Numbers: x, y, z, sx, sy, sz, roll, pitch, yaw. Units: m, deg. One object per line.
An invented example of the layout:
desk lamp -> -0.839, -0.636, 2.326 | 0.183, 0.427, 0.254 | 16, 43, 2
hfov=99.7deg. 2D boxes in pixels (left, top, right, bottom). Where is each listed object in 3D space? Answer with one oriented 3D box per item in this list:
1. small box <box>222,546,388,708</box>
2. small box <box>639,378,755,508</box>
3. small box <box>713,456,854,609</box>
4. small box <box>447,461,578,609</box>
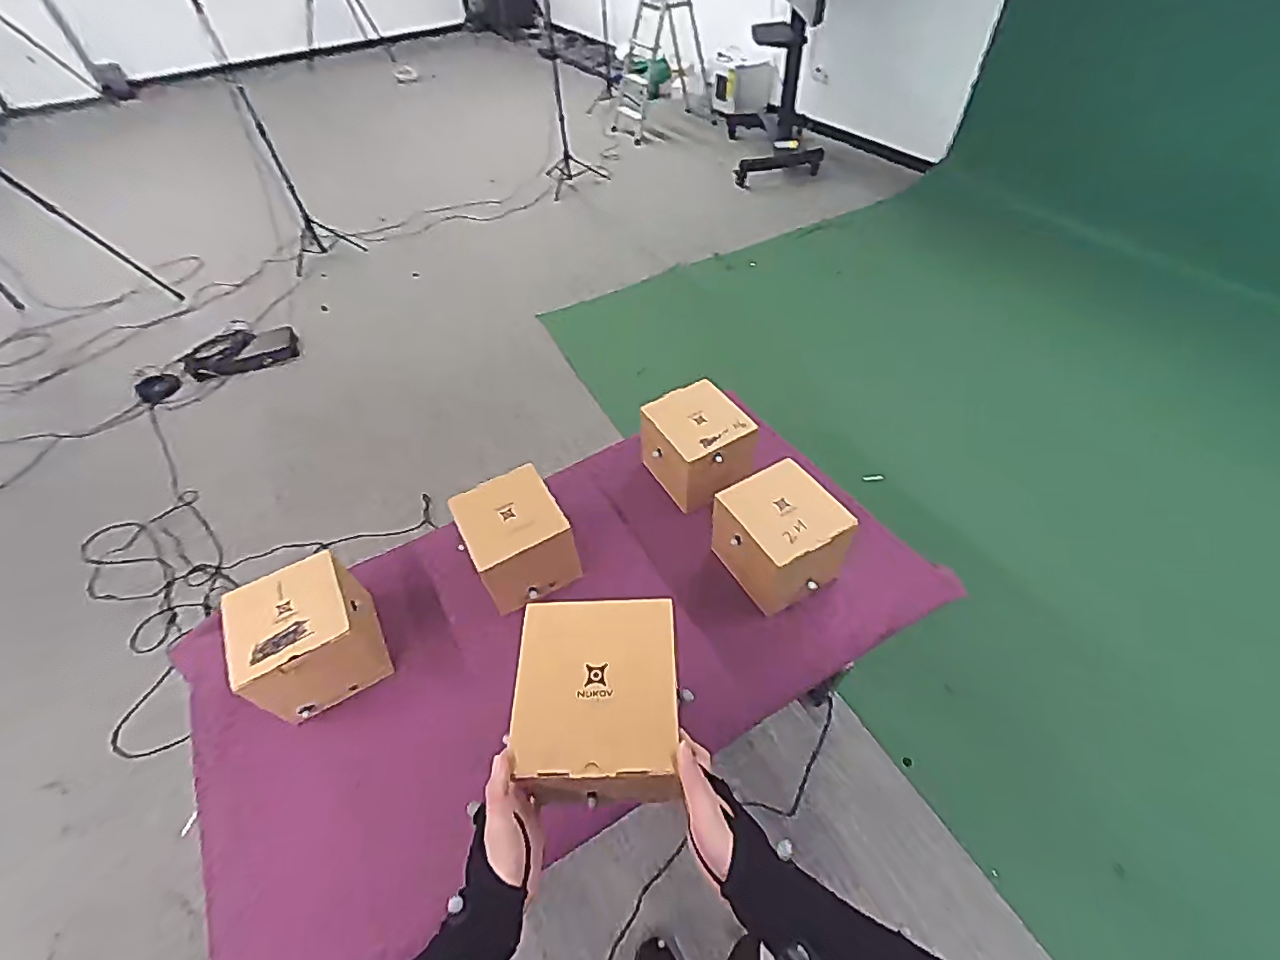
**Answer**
small box -> -0.538, 0.247, 0.883 | 0.168, 0.176, 0.179 | -26, 53, -18
small box -> 0.111, -0.074, 1.115 | 0.168, 0.176, 0.179 | -26, 54, -17
small box -> 0.241, 0.095, 0.960 | 0.168, 0.176, 0.179 | -25, 51, -15
small box -> -0.228, 0.102, 0.990 | 0.168, 0.176, 0.179 | -26, 54, -16
